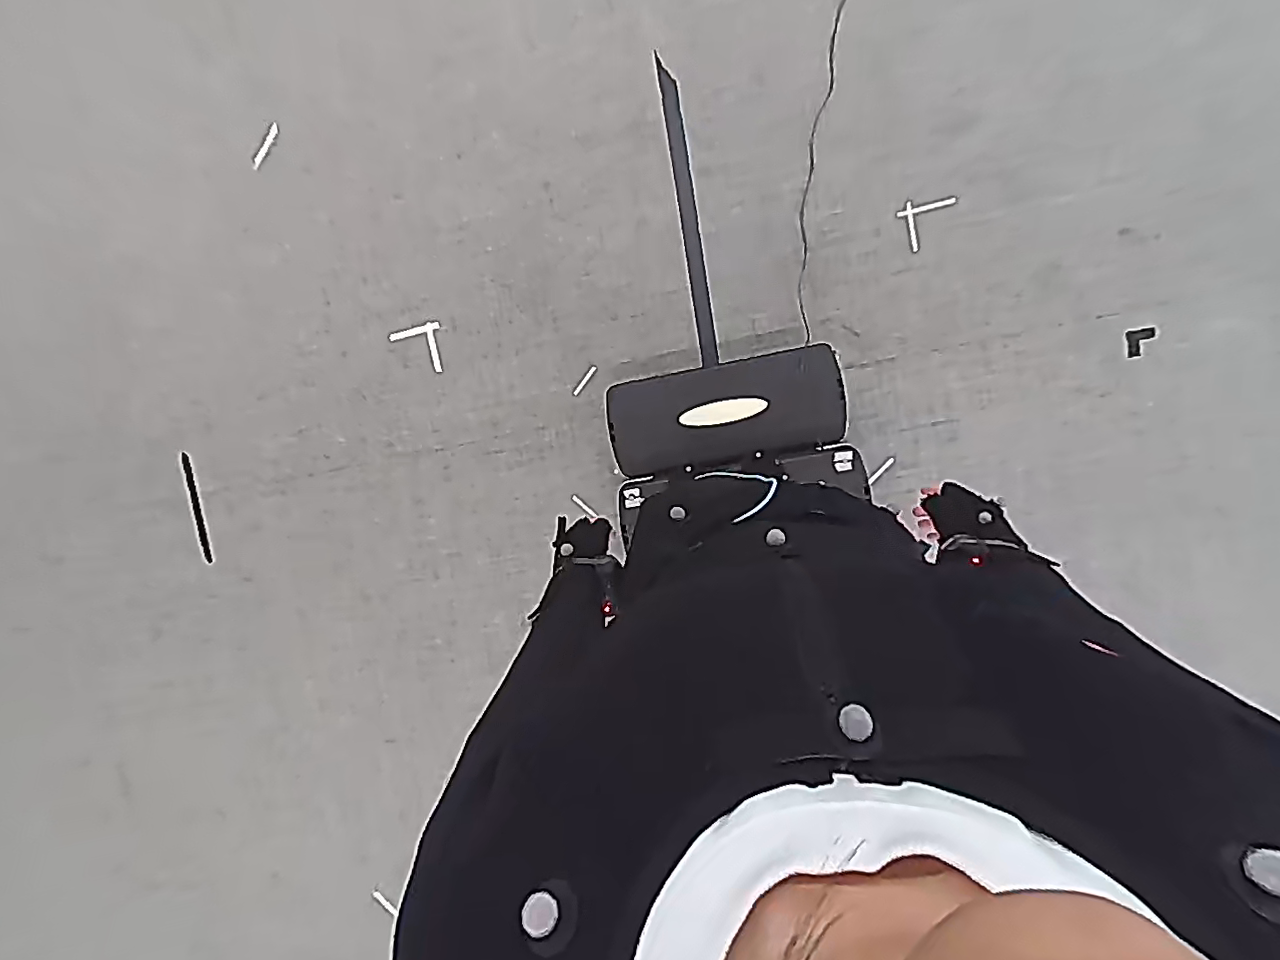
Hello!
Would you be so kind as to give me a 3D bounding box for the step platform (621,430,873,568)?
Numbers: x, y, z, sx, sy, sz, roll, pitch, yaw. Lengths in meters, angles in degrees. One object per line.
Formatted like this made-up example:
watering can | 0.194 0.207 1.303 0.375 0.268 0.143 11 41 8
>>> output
step platform | 0.290 0.056 1.530 0.684 0.204 0.286 -11 92 10
